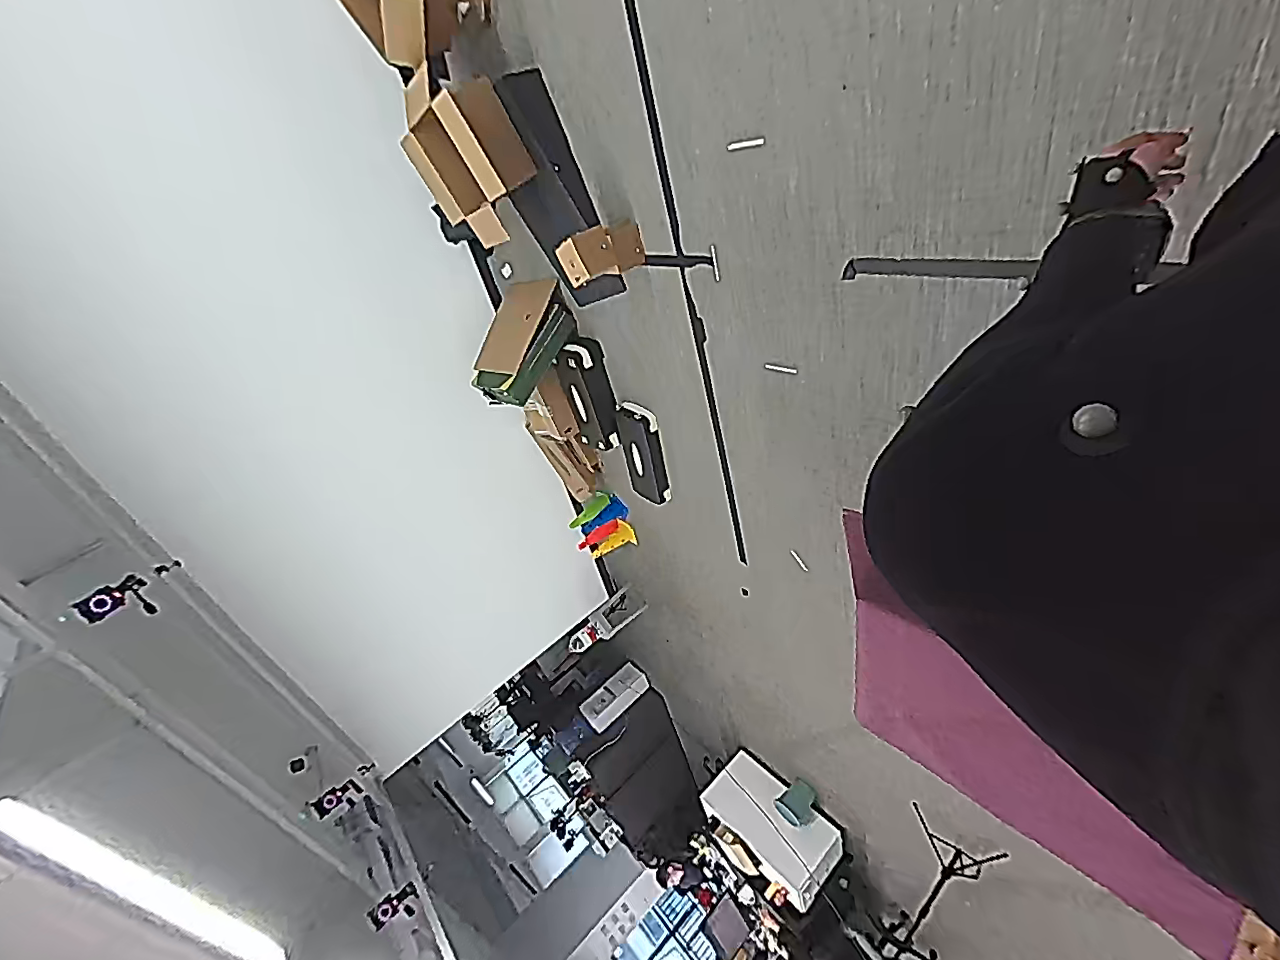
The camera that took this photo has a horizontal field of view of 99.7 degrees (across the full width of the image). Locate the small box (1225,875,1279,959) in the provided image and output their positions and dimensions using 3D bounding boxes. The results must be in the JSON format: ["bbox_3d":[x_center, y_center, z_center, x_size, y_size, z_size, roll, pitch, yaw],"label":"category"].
[{"bbox_3d":[1.118,0.805,0.890,0.168,0.176,0.179,28,143,43],"label":"small box"}]
